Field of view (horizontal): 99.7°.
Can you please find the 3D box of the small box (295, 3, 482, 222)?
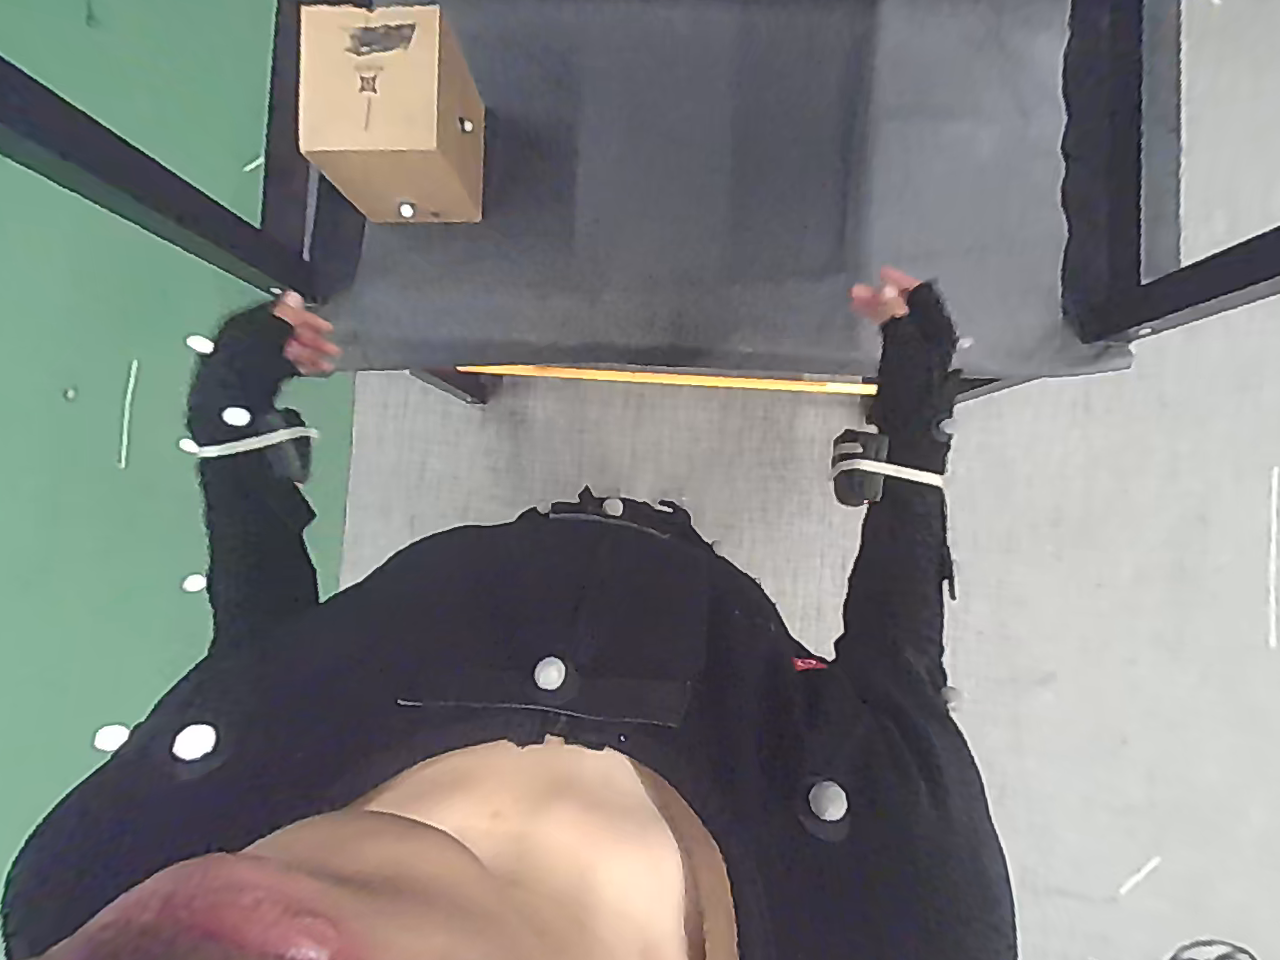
[{"bbox_3d":[-0.314,-0.466,0.707,0.168,0.176,0.179,1,88,2],"label":"small box"}]
